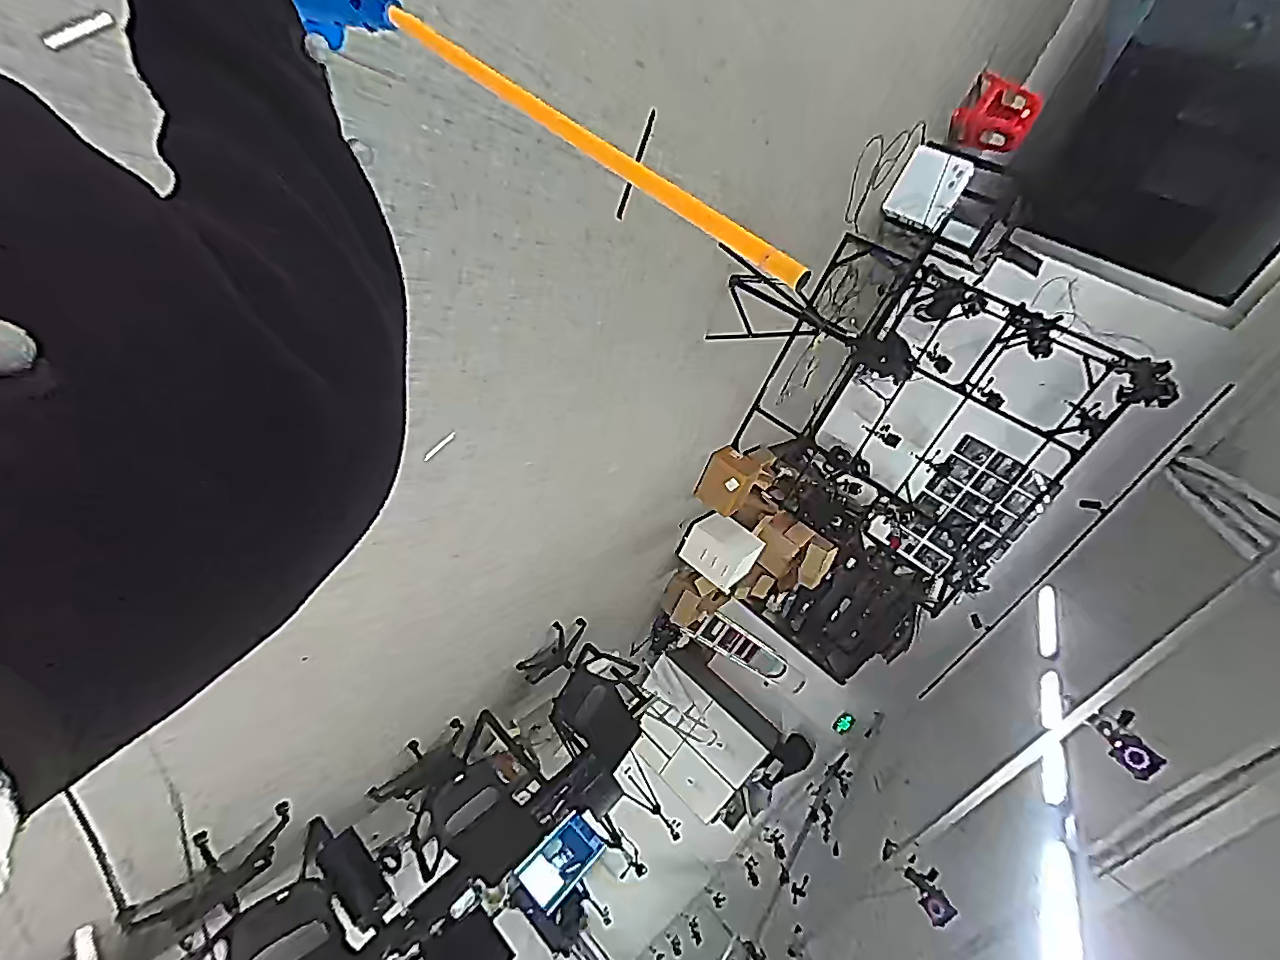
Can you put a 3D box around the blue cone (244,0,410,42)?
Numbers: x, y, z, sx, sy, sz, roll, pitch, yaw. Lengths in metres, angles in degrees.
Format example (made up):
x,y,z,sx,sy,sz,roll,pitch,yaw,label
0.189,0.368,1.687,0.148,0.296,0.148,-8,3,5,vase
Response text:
x,y,z,sx,sy,sz,roll,pitch,yaw,label
-0.527,-0.868,0.951,0.193,0.380,0.192,-22,142,-51,blue cone
